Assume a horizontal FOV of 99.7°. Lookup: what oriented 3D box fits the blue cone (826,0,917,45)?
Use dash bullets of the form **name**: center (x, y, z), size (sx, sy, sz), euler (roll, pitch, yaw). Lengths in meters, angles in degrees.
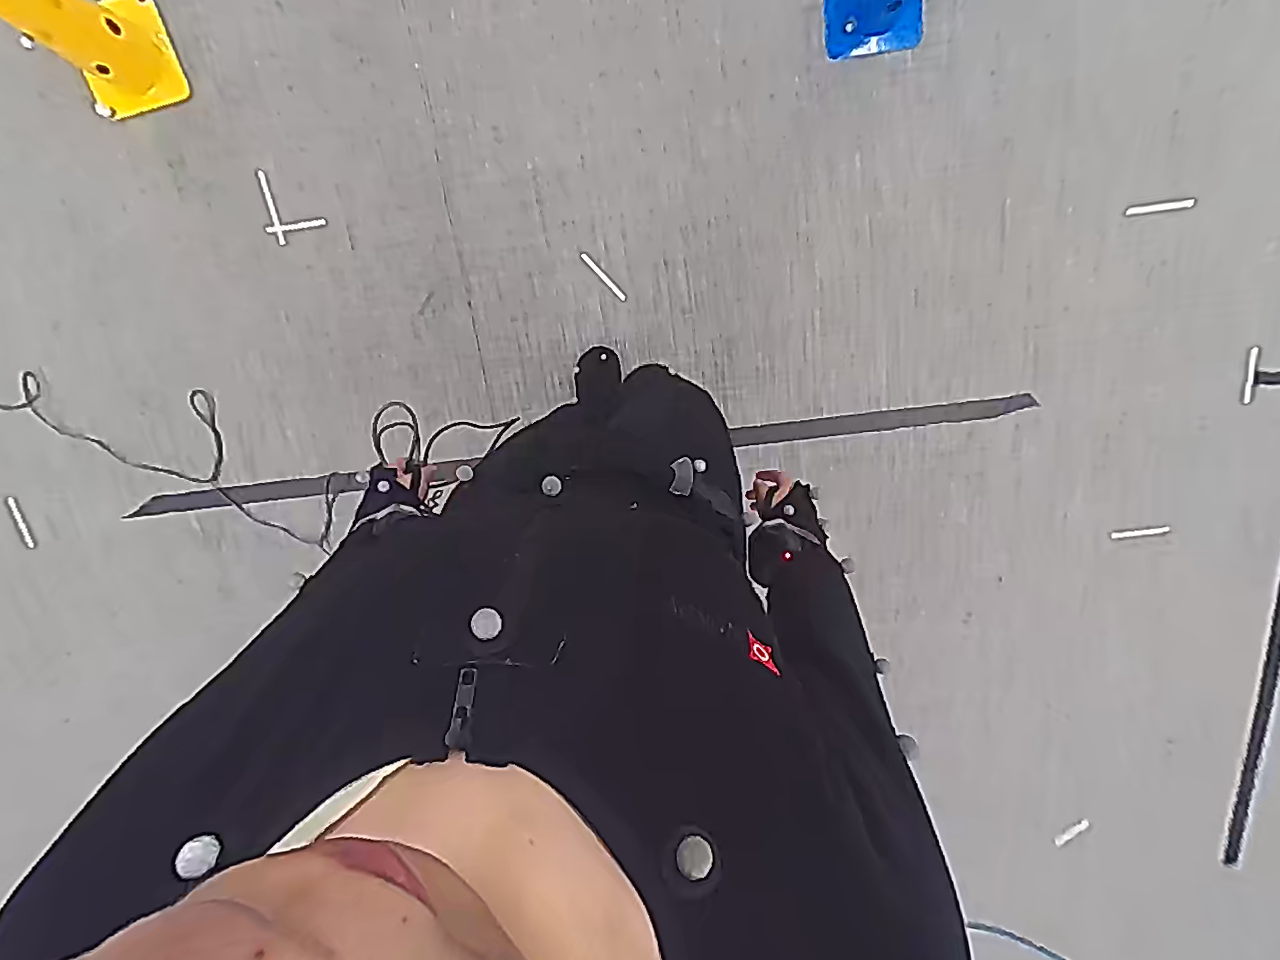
- **blue cone**: center (0.468, -0.957, 0.936), size (0.193, 0.380, 0.192), euler (-7, 104, 1)
